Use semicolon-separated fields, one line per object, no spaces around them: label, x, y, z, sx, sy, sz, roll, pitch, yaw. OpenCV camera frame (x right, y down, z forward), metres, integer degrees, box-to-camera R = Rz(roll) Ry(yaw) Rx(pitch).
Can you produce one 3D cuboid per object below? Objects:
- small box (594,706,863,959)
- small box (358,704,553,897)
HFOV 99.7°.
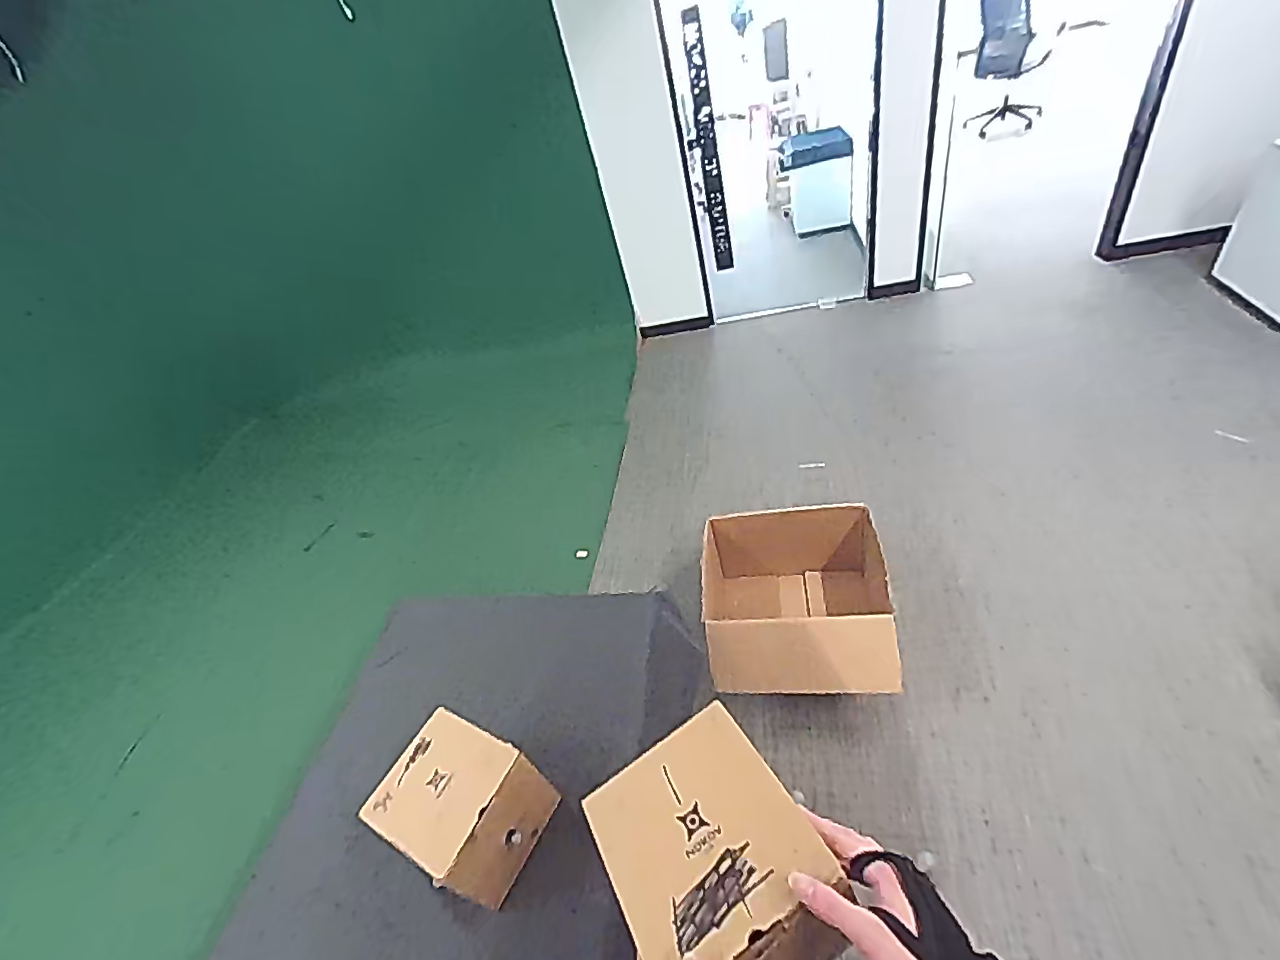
small box;0.085;0.365;0.514;0.168;0.176;0.179;-31;34;-10
small box;-0.256;0.469;0.790;0.179;0.176;0.168;12;47;30
